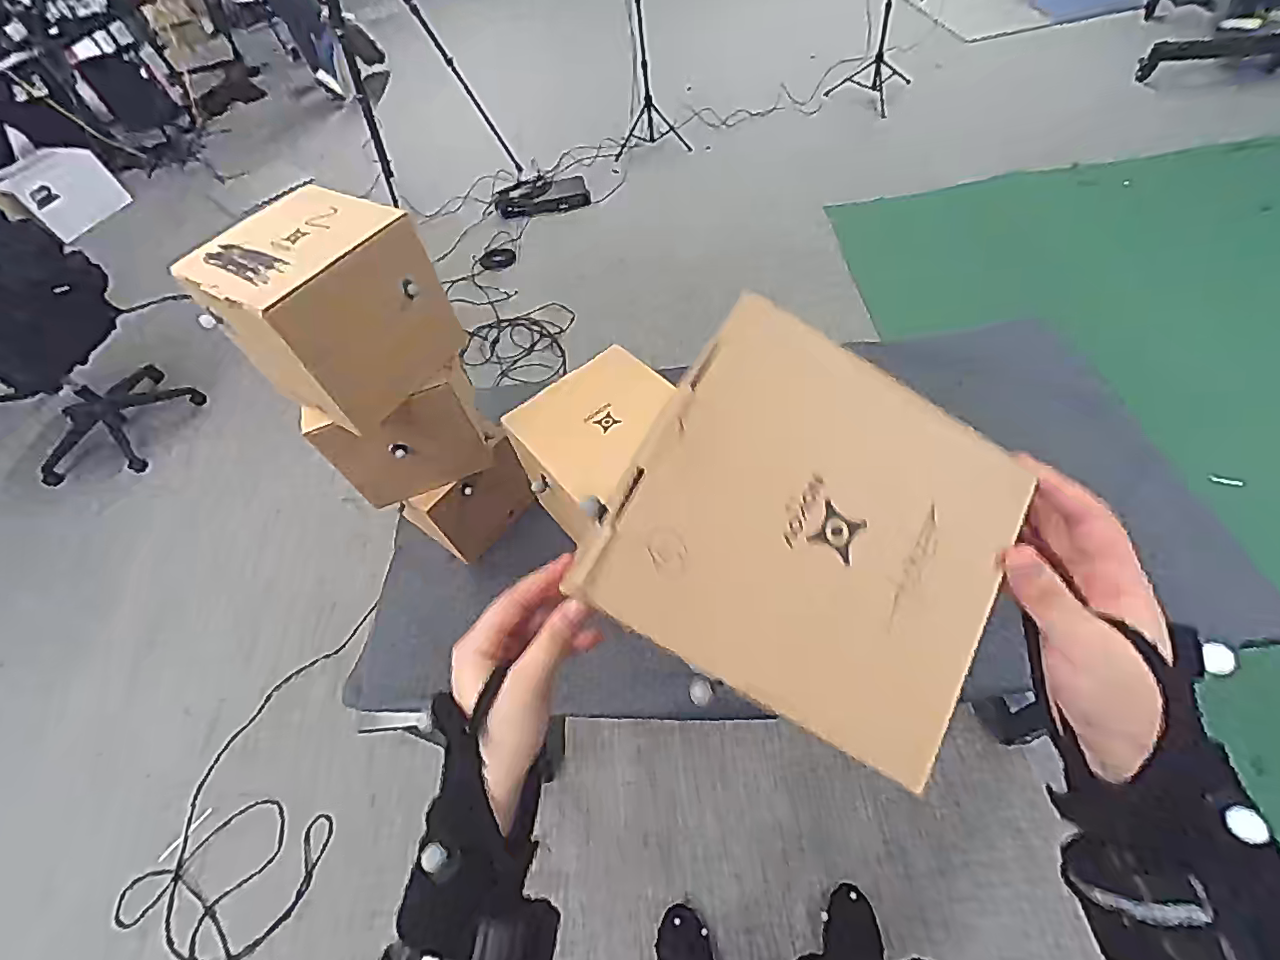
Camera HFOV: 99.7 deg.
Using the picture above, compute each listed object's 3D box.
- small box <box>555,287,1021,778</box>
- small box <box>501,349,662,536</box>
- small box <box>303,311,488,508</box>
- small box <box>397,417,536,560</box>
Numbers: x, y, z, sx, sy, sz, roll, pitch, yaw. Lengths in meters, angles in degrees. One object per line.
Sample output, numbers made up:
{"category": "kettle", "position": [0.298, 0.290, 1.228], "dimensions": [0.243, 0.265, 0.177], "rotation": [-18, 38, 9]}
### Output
{"category": "small box", "position": [0.062, 0.031, 0.321], "dimensions": [0.179, 0.176, 0.168], "rotation": [31, 77, -4]}
{"category": "small box", "position": [-0.026, -0.012, 0.629], "dimensions": [0.168, 0.176, 0.179], "rotation": [-37, 56, -16]}
{"category": "small box", "position": [-0.321, -0.092, 0.735], "dimensions": [0.179, 0.176, 0.168], "rotation": [-22, 55, -6]}
{"category": "small box", "position": [-0.299, 0.000, 0.871], "dimensions": [0.179, 0.176, 0.168], "rotation": [29, 64, 26]}
